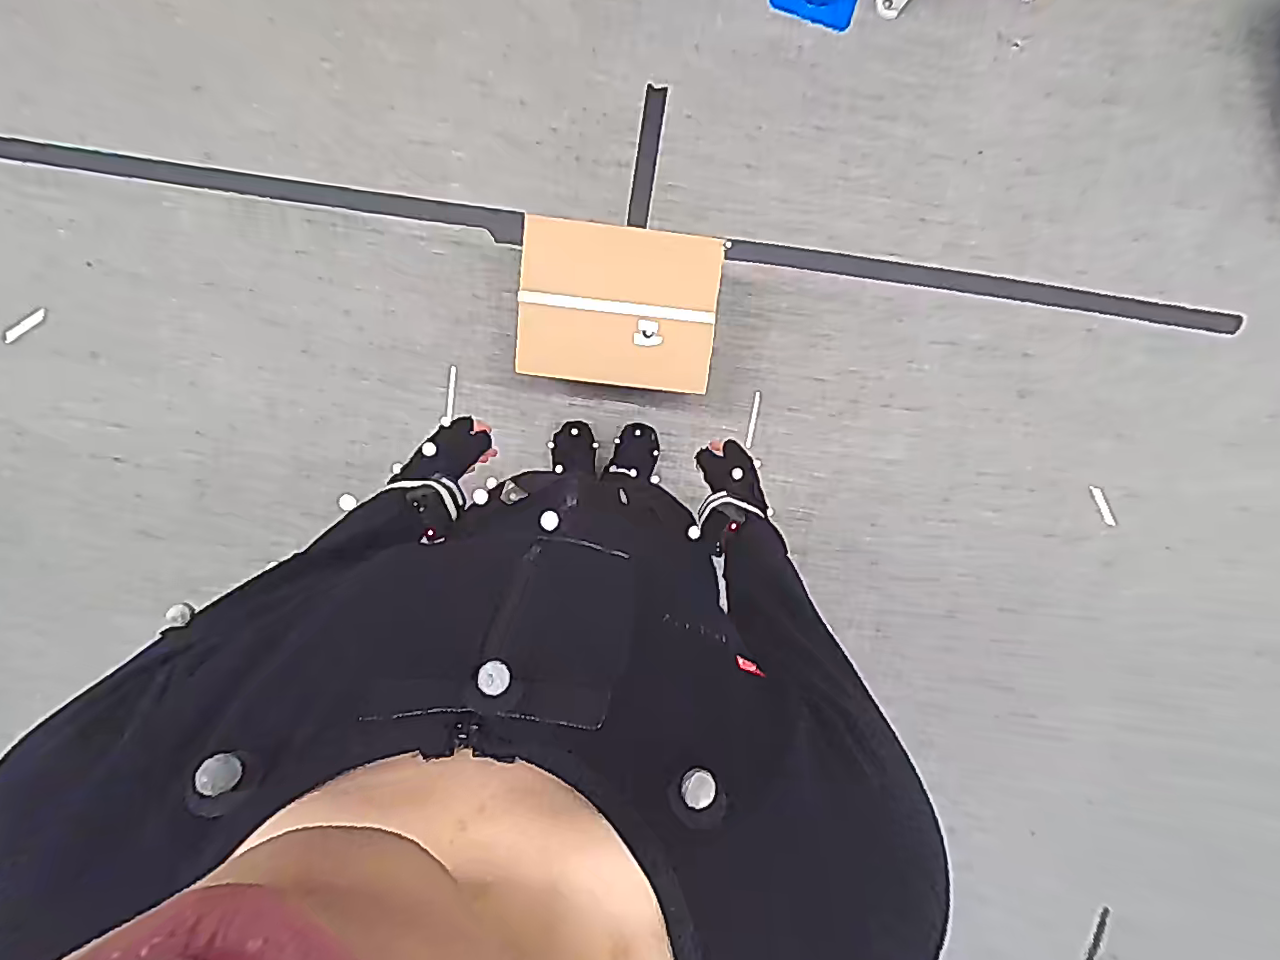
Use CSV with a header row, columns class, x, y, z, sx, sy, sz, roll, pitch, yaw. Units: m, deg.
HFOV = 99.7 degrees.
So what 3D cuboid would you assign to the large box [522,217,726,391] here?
class,x,y,z,sx,sy,sz,roll,pitch,yaw
large box,-0.044,-0.381,1.251,0.408,0.320,0.320,6,101,-3
